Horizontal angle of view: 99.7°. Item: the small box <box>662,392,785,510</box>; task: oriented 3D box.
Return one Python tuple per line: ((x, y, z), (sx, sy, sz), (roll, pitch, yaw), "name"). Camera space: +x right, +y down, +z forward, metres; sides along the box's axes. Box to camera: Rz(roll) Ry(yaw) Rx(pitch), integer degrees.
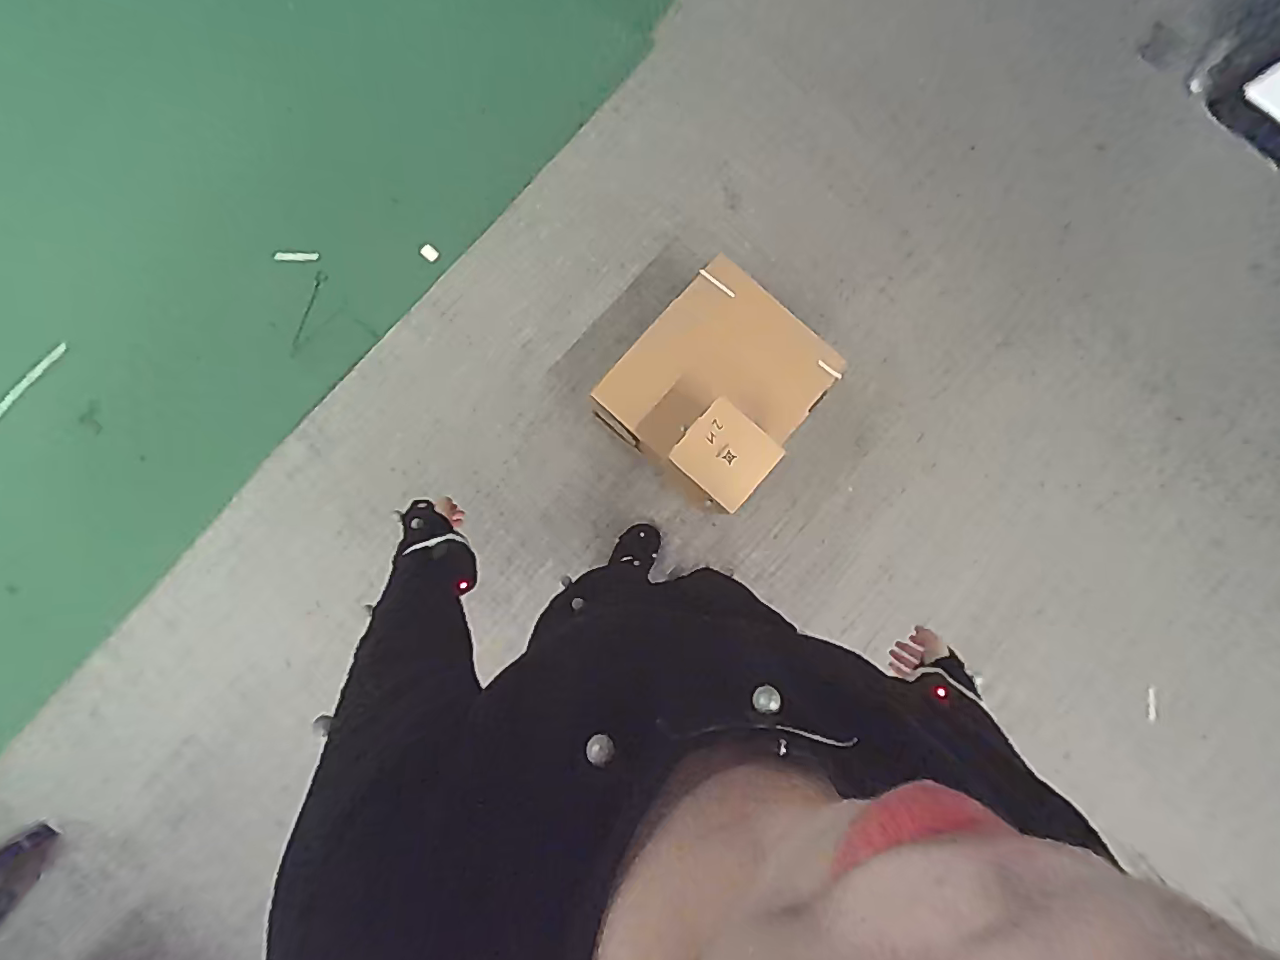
((0.165, -0.054, 1.126), (0.179, 0.176, 0.168), (42, 86, 1), "small box")
